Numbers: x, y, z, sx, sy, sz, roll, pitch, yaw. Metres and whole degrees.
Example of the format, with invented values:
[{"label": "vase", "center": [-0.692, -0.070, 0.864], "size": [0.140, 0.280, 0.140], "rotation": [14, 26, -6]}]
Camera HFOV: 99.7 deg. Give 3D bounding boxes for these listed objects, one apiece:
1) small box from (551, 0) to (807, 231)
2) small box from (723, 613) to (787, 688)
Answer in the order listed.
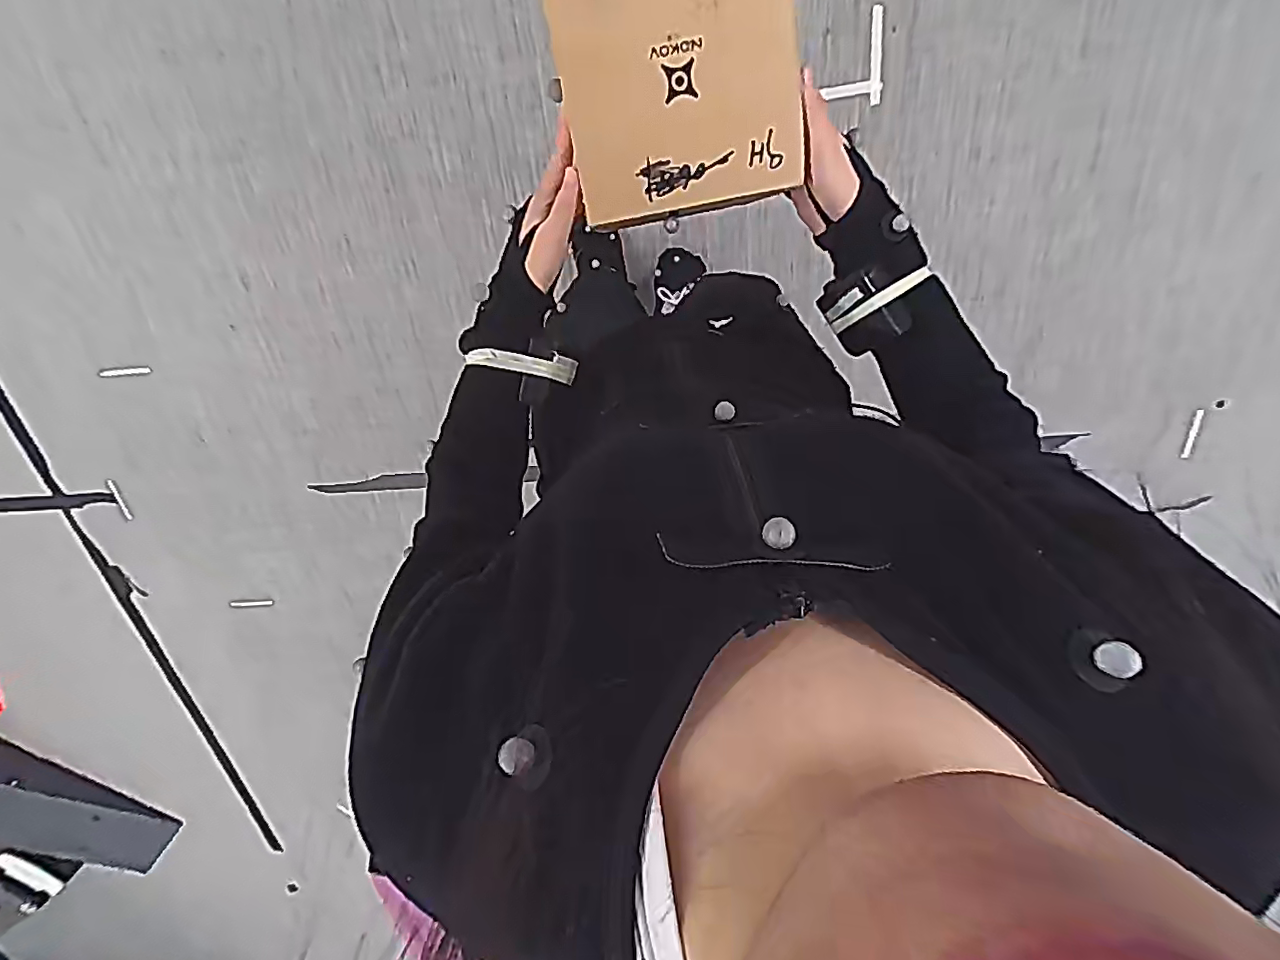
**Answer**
[{"label": "small box", "center": [0.025, -0.313, 0.440], "size": [0.168, 0.176, 0.179], "rotation": [-10, 113, 2]}, {"label": "small box", "center": [0.361, 0.540, 1.725], "size": [0.179, 0.176, 0.168], "rotation": [-2, 114, 4]}]
